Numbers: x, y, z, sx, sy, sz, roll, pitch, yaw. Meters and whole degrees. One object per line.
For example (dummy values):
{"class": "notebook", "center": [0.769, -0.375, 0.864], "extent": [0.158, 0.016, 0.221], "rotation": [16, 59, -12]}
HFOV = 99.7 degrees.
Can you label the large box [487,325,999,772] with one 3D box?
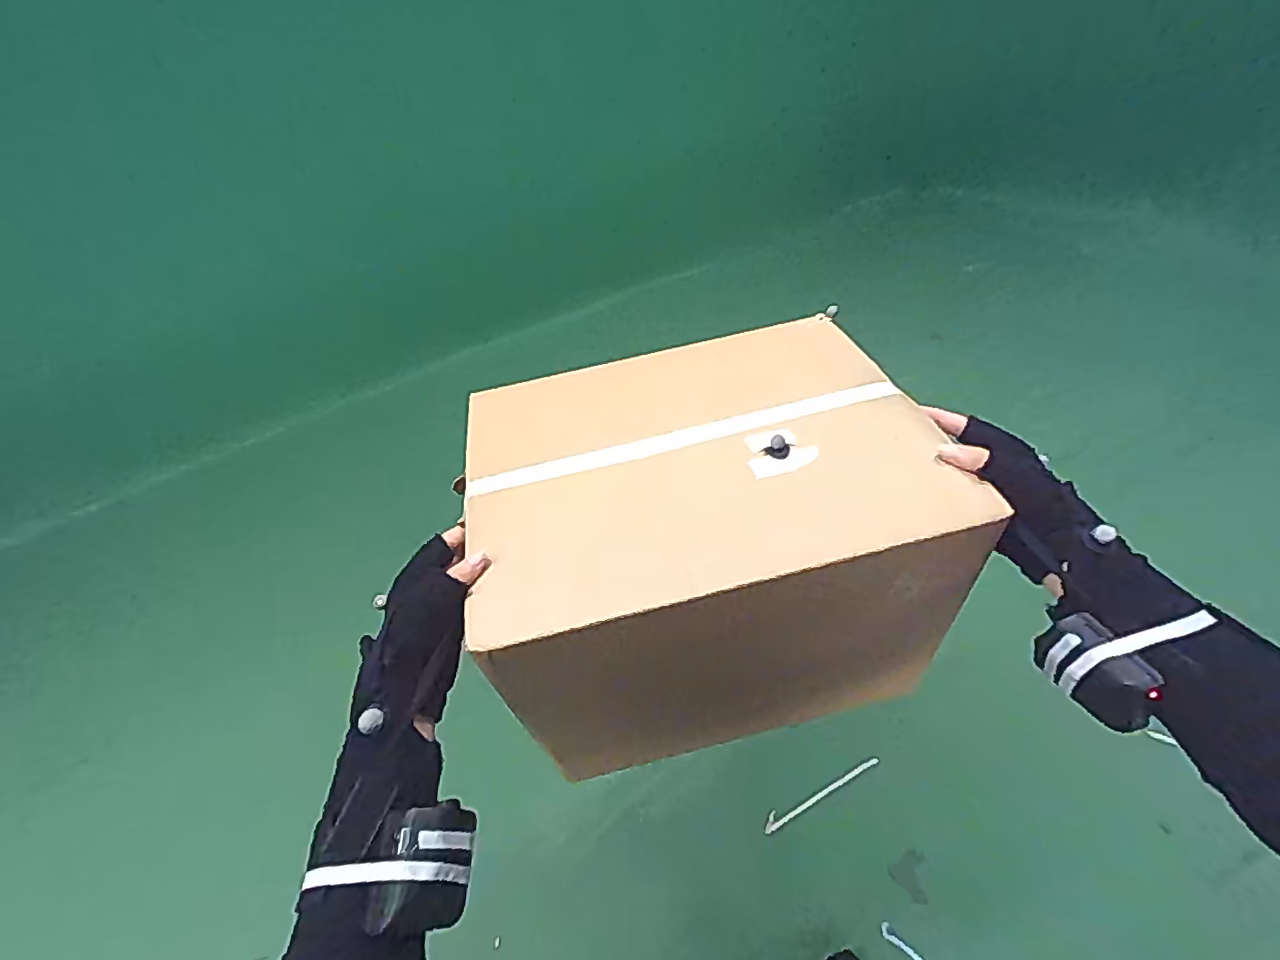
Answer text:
{"class": "large box", "center": [0.071, 0.073, 0.607], "extent": [0.408, 0.320, 0.320], "rotation": [-13, 46, -3]}
